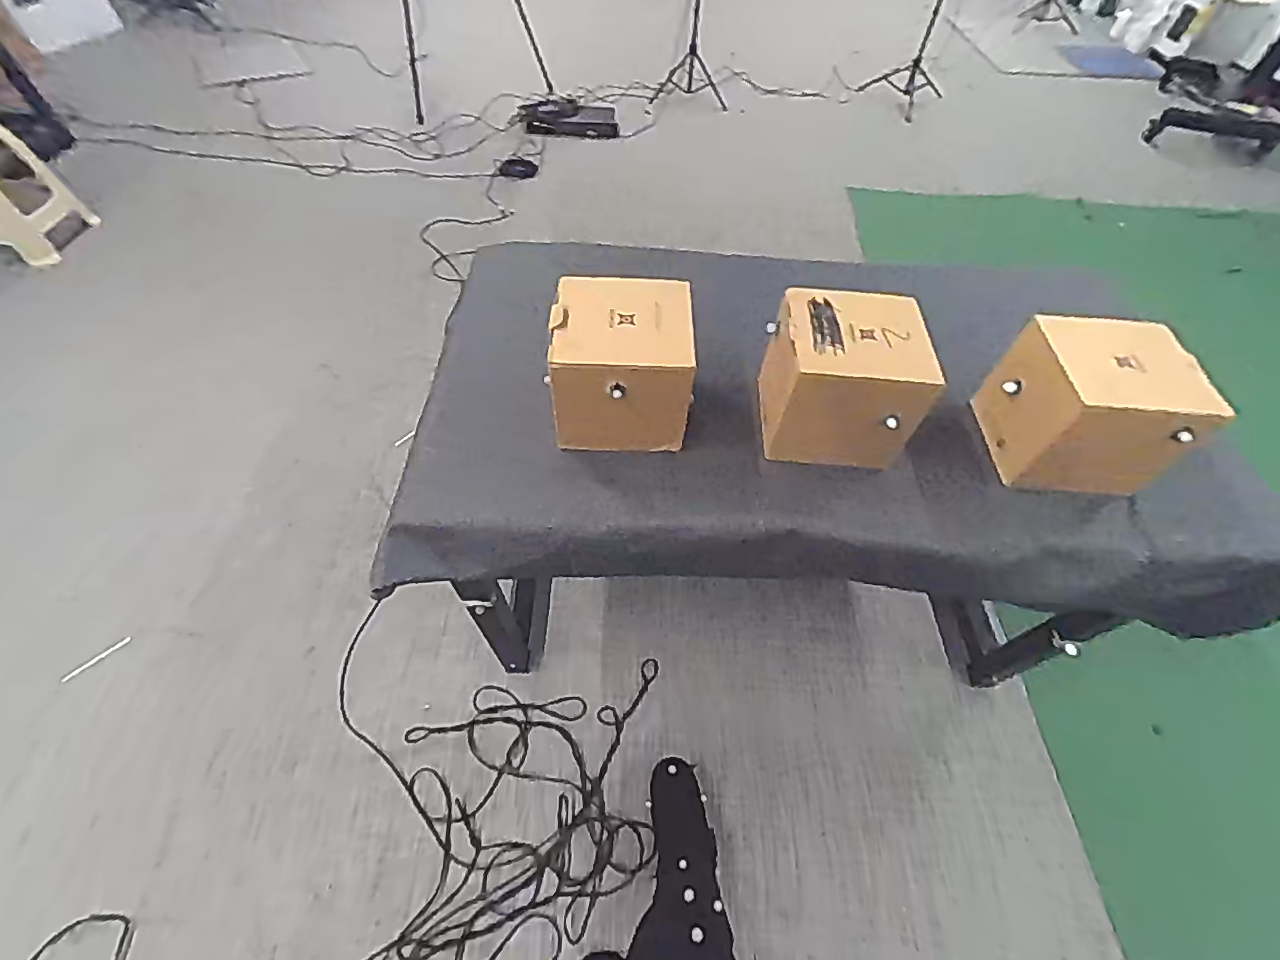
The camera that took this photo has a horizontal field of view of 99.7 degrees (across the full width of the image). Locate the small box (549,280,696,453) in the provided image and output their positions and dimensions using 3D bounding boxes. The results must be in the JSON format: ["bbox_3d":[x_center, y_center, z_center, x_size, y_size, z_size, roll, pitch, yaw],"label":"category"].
[{"bbox_3d":[-0.022,-0.150,0.740,0.179,0.176,0.168,2,56,-2],"label":"small box"}]

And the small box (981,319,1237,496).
[{"bbox_3d":[0.594,-0.092,0.724,0.179,0.176,0.168,4,54,0],"label":"small box"}]
